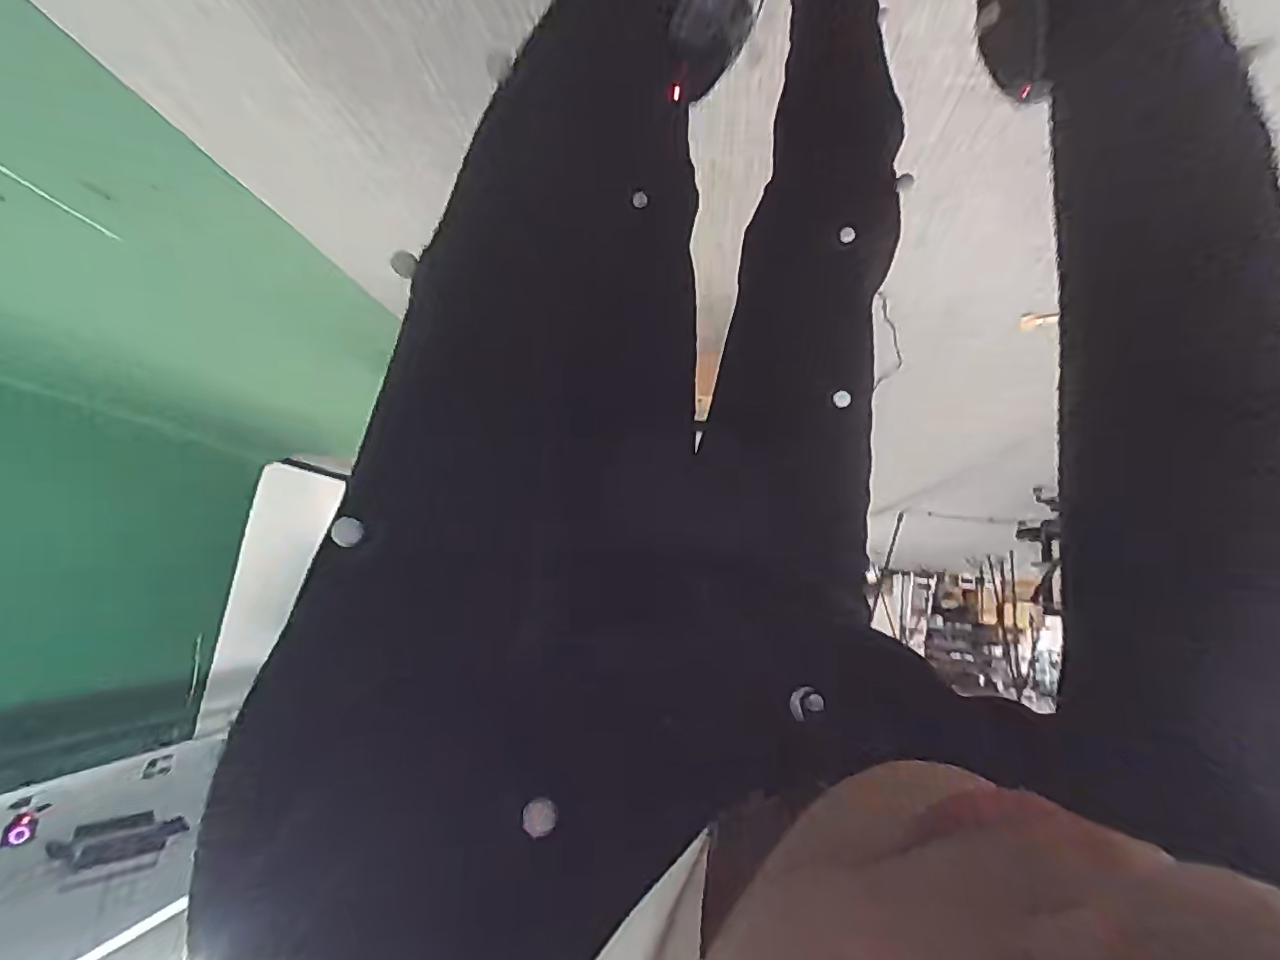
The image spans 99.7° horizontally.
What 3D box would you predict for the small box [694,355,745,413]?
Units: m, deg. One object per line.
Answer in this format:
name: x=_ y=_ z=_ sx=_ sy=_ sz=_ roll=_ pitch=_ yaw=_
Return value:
small box: x=0.294 y=-0.356 z=2.008 sx=0.179 sy=0.176 sz=0.168 roll=4 pitch=169 yaw=7
